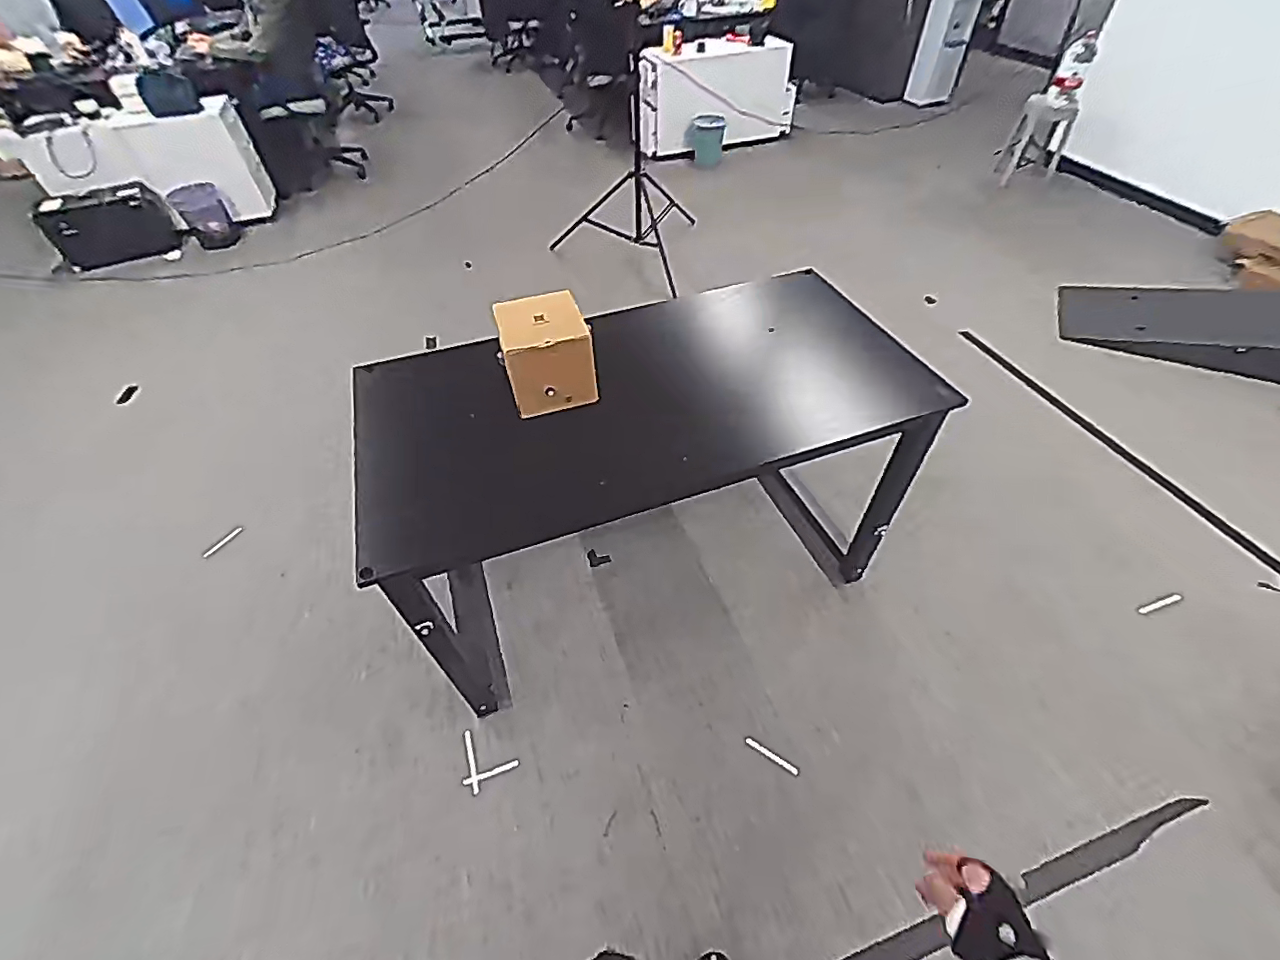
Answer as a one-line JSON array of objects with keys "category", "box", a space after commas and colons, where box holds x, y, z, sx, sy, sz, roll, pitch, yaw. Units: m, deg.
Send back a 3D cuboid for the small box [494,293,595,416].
[{"category": "small box", "box": [-0.197, -0.262, 1.132, 0.168, 0.176, 0.179, -15, 50, -11]}]
